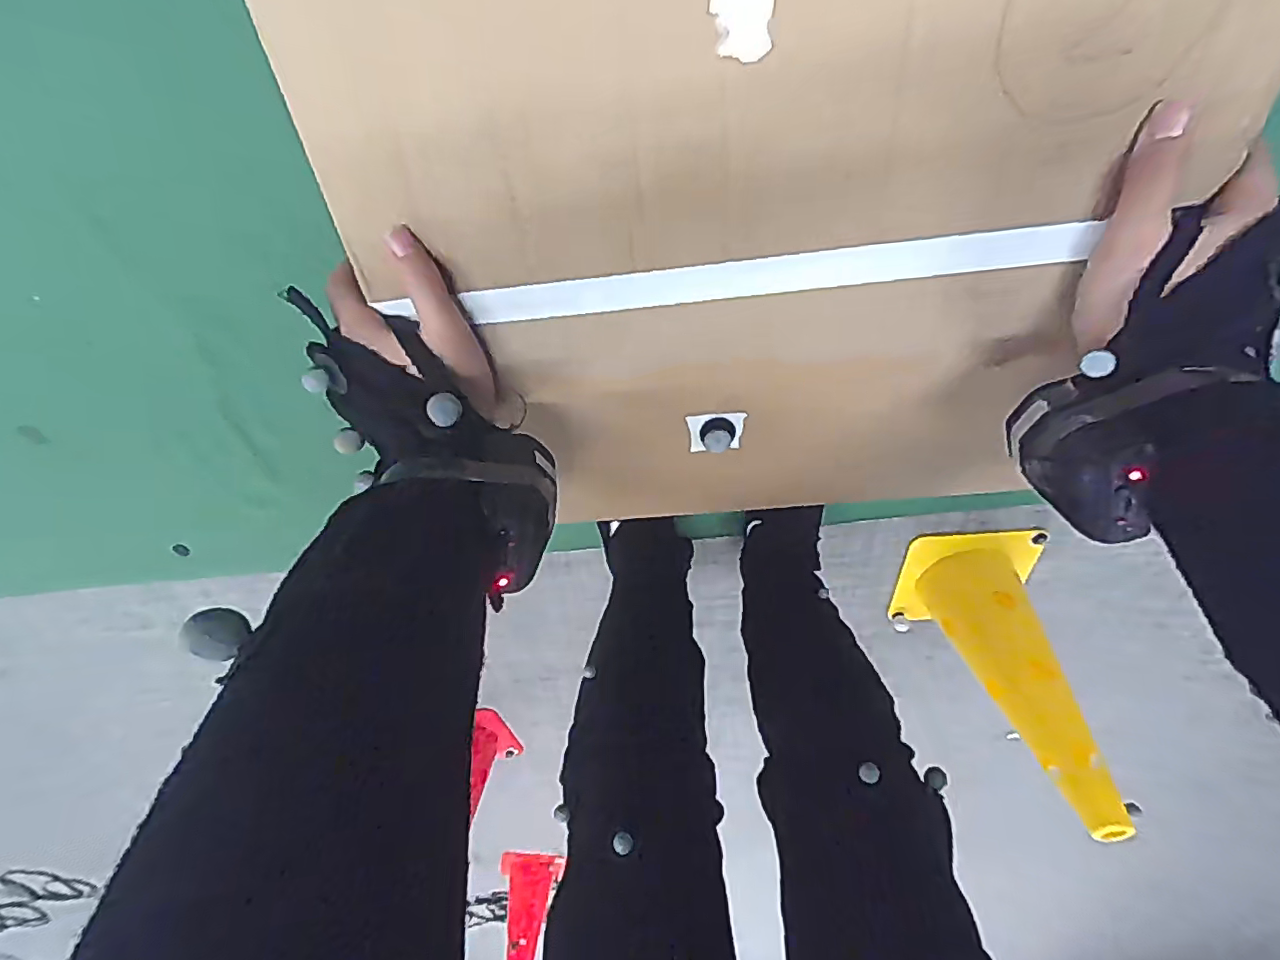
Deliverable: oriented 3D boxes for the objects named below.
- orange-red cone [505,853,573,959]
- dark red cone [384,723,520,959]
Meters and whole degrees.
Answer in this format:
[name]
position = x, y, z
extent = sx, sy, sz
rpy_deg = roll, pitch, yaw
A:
[orange-red cone]
position = -0.322, 1.311, 1.548
extent = 0.199, 0.360, 0.198
rpy_deg = 11, 127, -6
[dark red cone]
position = -0.381, 0.669, 1.016
extent = 0.202, 0.394, 0.201
rpy_deg = -12, 124, 10
